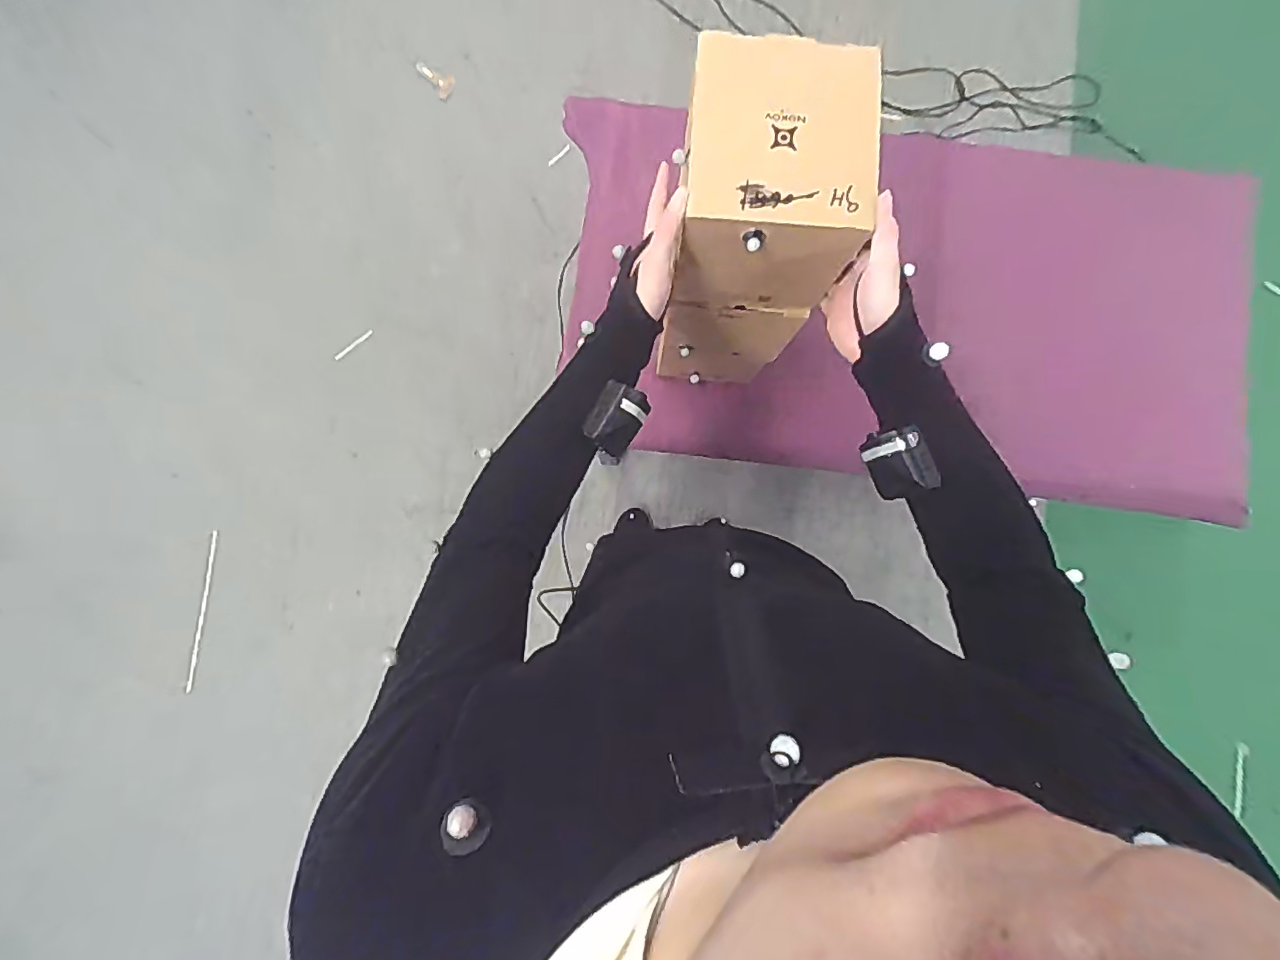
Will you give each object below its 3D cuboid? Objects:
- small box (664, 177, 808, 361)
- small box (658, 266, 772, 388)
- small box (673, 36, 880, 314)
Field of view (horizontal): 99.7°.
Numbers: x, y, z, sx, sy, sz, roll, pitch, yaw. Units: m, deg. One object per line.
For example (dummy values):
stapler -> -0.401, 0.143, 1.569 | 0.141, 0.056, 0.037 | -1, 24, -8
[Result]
small box -> 0.121, -0.268, 0.710 | 0.168, 0.176, 0.179 | 5, 83, 0
small box -> 0.120, -0.262, 0.874 | 0.168, 0.176, 0.179 | 5, 86, 0
small box -> 0.123, -0.291, 0.548 | 0.168, 0.176, 0.179 | 5, 83, 1
